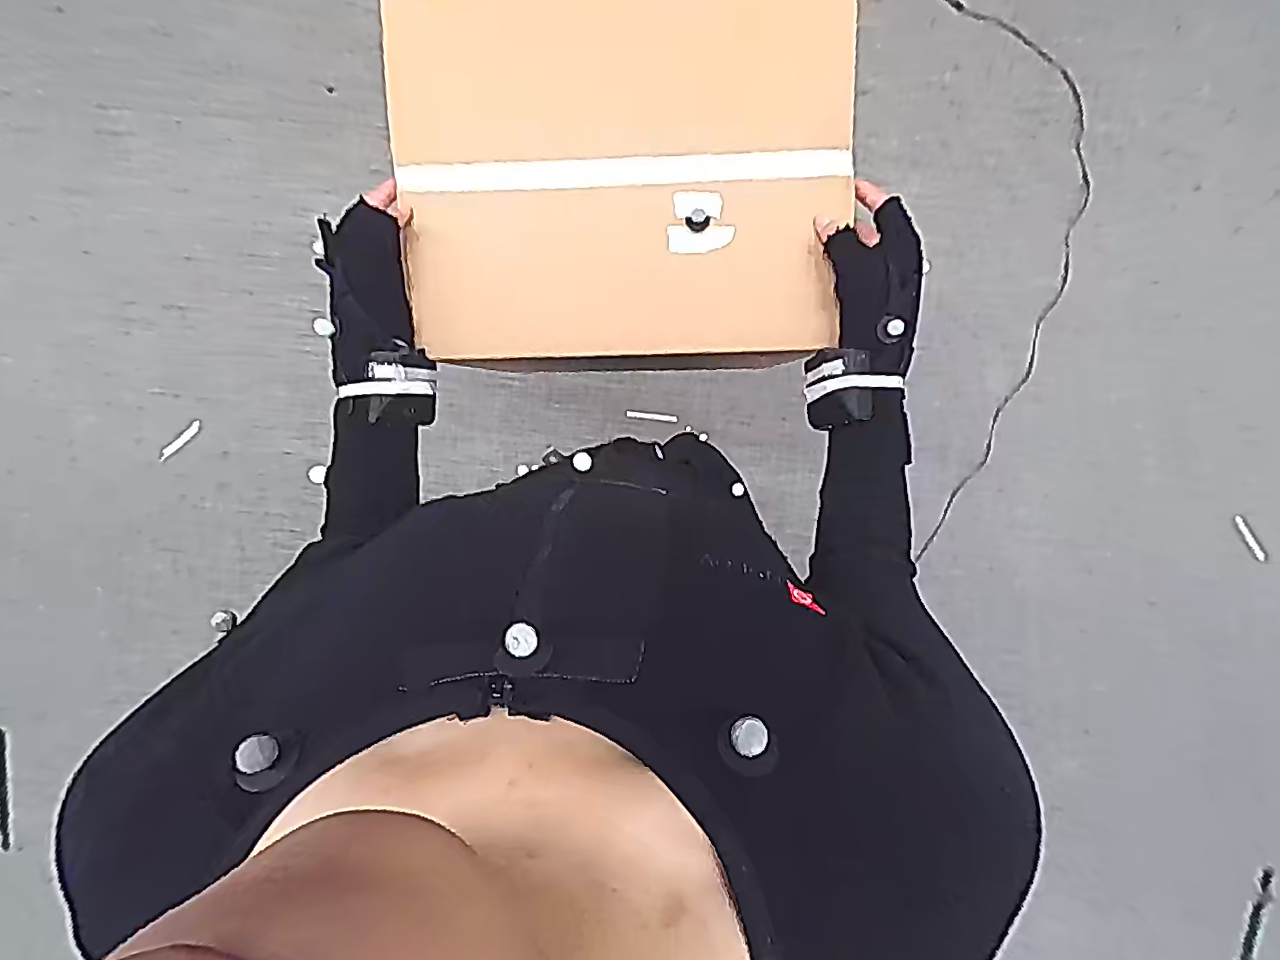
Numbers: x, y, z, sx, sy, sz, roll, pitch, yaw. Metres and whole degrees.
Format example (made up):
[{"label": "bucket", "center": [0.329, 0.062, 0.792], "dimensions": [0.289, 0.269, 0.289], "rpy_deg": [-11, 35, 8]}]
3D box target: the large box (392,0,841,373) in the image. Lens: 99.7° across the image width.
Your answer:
[{"label": "large box", "center": [-0.016, -0.301, 0.641], "dimensions": [0.408, 0.320, 0.320], "rpy_deg": [-2, 99, 1]}]
